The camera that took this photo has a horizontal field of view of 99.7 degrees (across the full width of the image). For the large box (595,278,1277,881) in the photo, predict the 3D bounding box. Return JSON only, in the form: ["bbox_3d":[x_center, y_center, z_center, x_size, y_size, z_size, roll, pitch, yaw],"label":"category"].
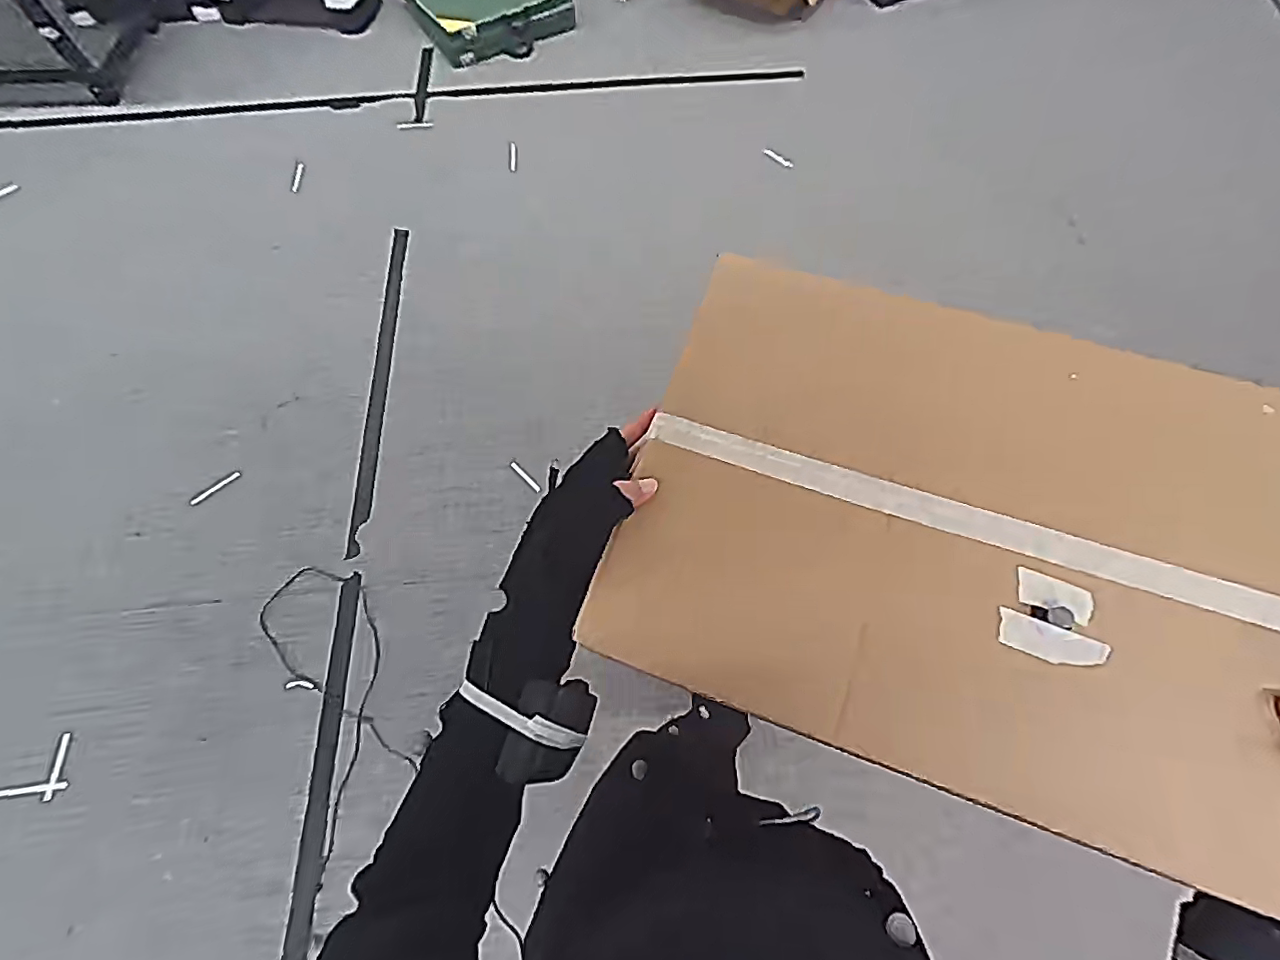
[{"bbox_3d":[0.211,0.073,0.509,0.408,0.320,0.320,18,75,10],"label":"large box"}]
